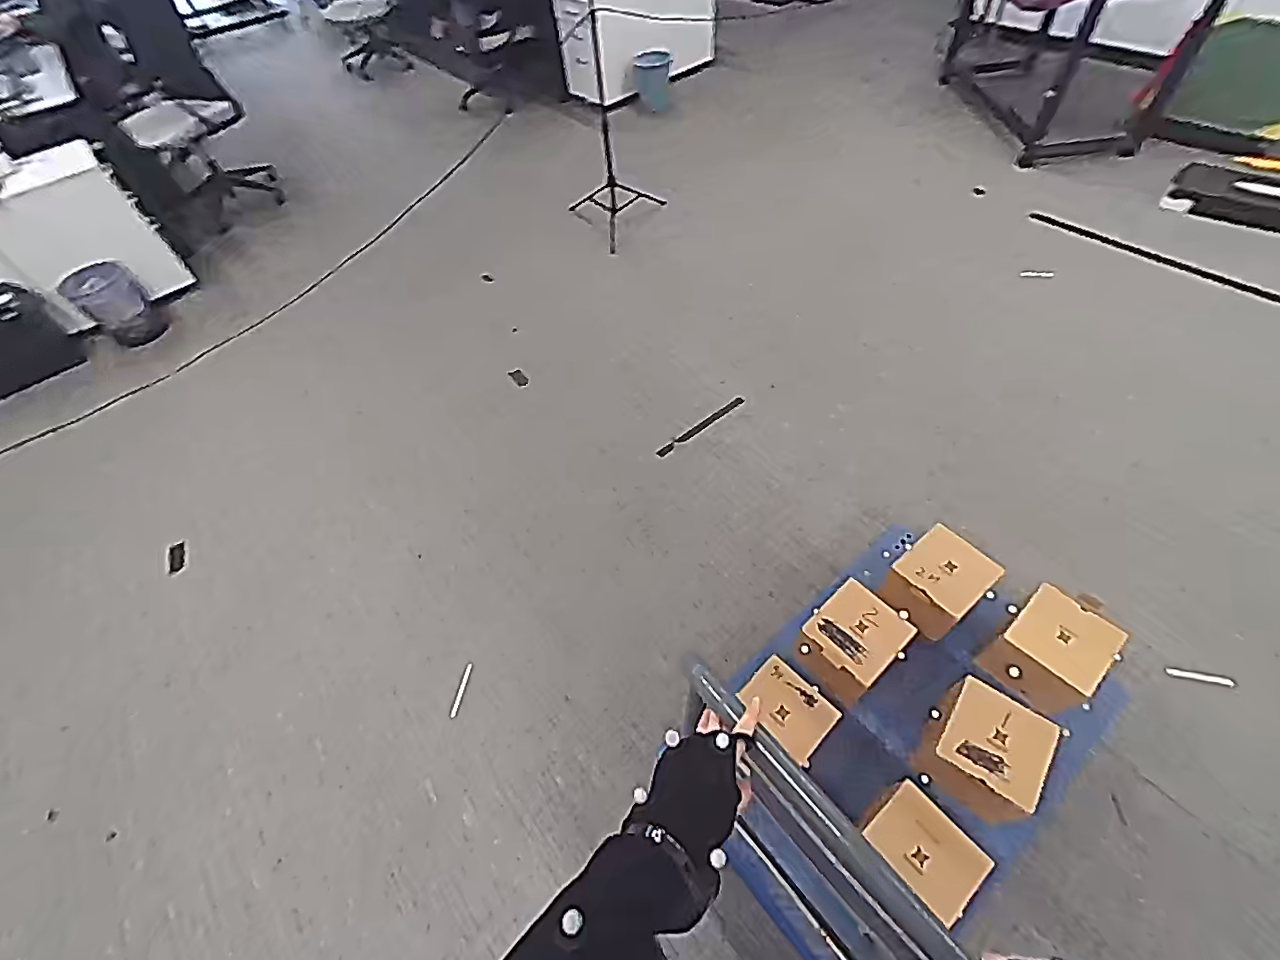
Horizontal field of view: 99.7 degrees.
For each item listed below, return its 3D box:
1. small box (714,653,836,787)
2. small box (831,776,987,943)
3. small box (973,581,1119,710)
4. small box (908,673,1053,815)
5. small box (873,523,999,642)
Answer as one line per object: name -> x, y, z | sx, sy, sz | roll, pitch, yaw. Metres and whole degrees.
small box -> 0.269, 0.497, 1.109 | 0.179, 0.176, 0.168 | -39, 61, -20
small box -> 0.465, 0.671, 0.967 | 0.179, 0.176, 0.168 | -35, 59, -19
small box -> 0.849, 0.358, 1.154 | 0.179, 0.176, 0.168 | -39, 59, -21
small box -> 0.652, 0.519, 1.056 | 0.168, 0.176, 0.179 | 31, 62, 24
small box -> 0.672, 0.240, 1.254 | 0.179, 0.176, 0.168 | -35, 58, -17
